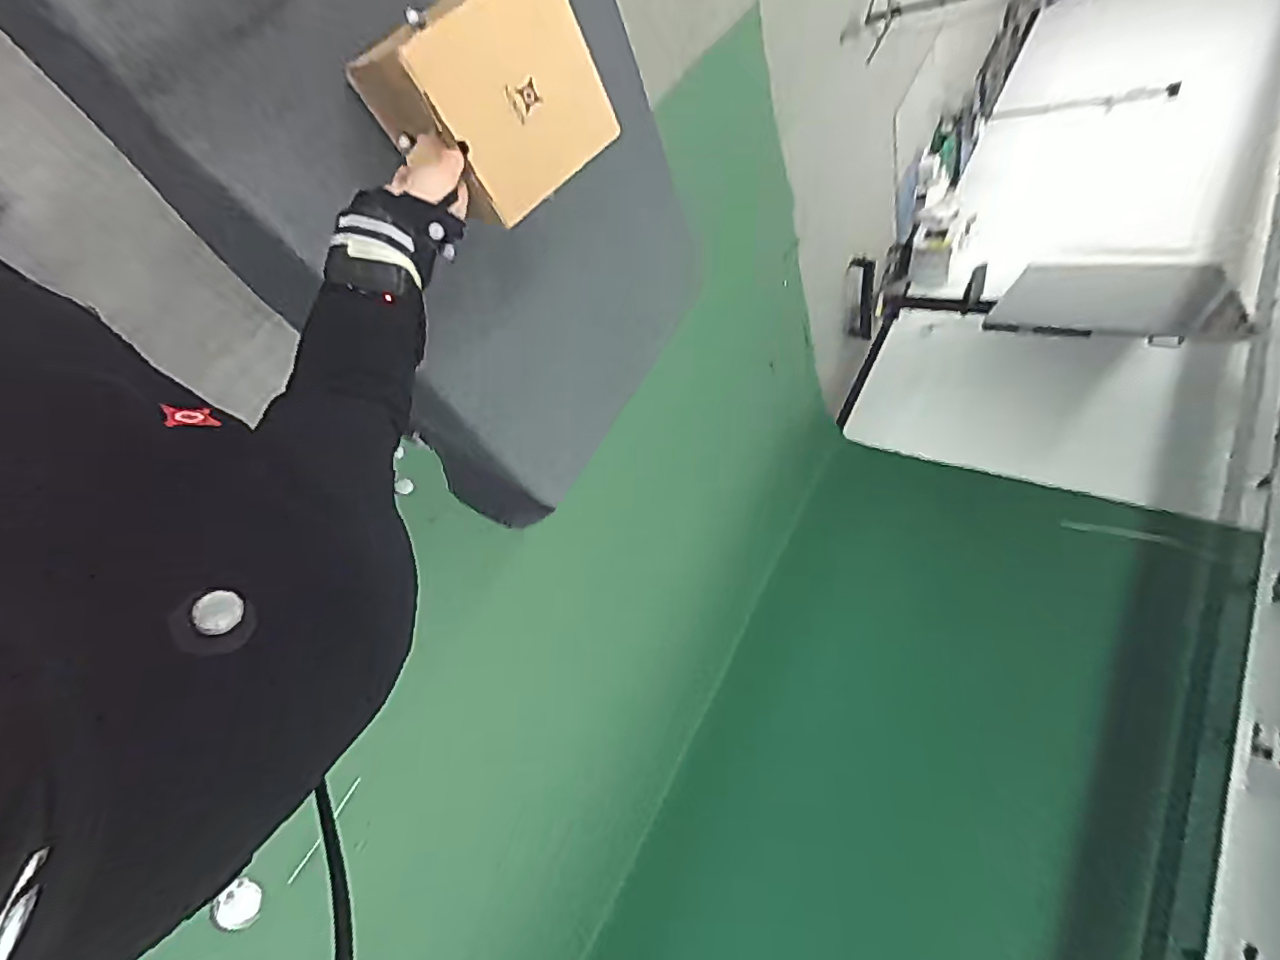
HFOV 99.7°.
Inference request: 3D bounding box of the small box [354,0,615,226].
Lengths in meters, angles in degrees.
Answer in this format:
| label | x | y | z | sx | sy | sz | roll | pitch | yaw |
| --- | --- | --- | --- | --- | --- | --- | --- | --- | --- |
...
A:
| label | x | y | z | sx | sy | sz | roll | pitch | yaw |
| --- | --- | --- | --- | --- | --- | --- | --- | --- | --- |
| small box | -0.165 | -0.406 | 0.579 | 0.179 | 0.176 | 0.168 | -47 | 138 | -11 |
